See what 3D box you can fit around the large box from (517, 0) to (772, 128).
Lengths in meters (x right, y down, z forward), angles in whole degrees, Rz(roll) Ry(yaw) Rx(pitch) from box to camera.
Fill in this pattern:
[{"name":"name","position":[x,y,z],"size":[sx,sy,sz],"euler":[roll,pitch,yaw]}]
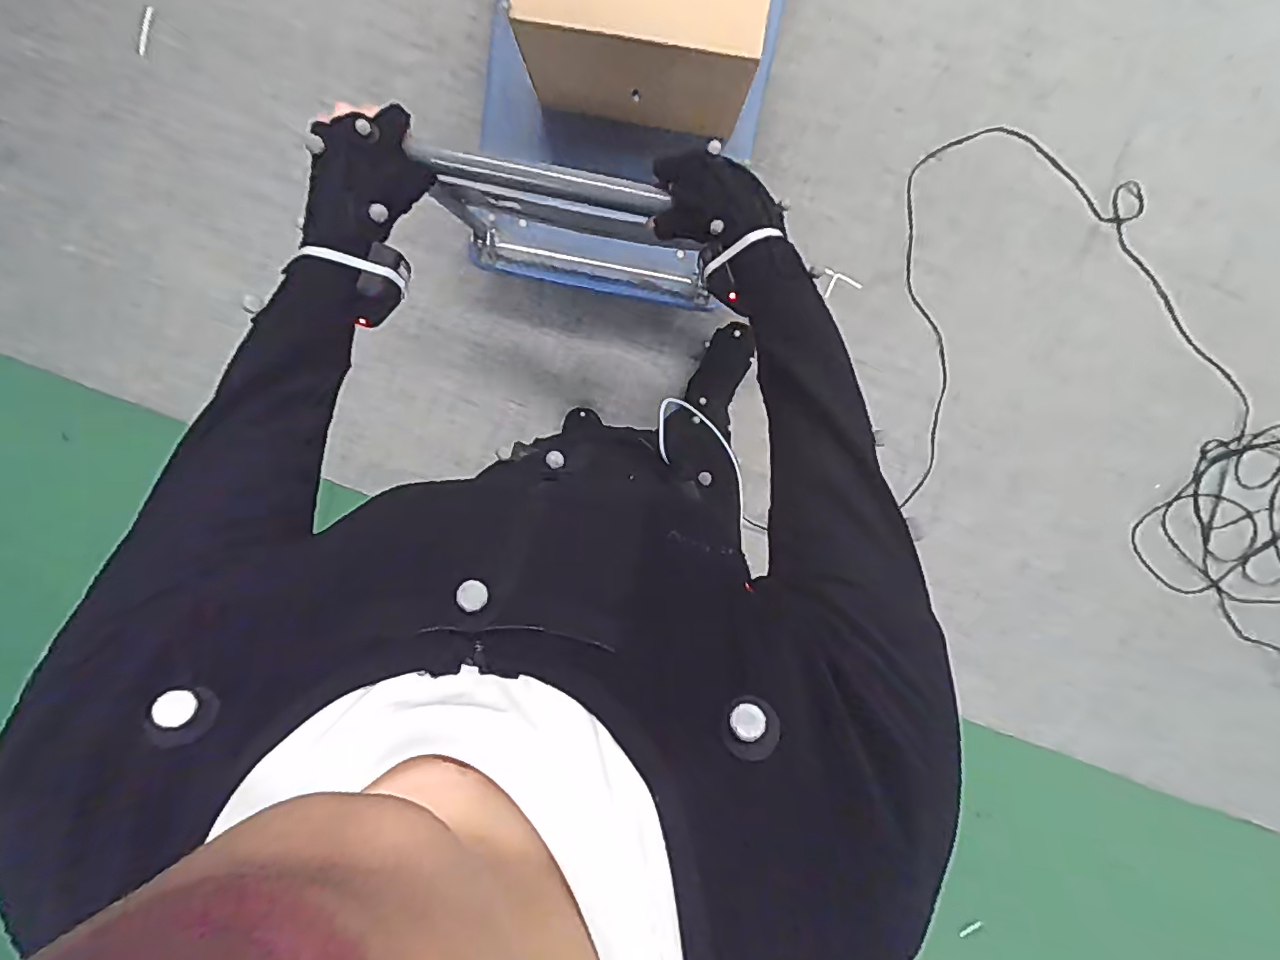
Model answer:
[{"name":"large box","position":[0.022,-0.882,0.973],"size":[0.408,0.320,0.320],"euler":[7,101,-1]}]
